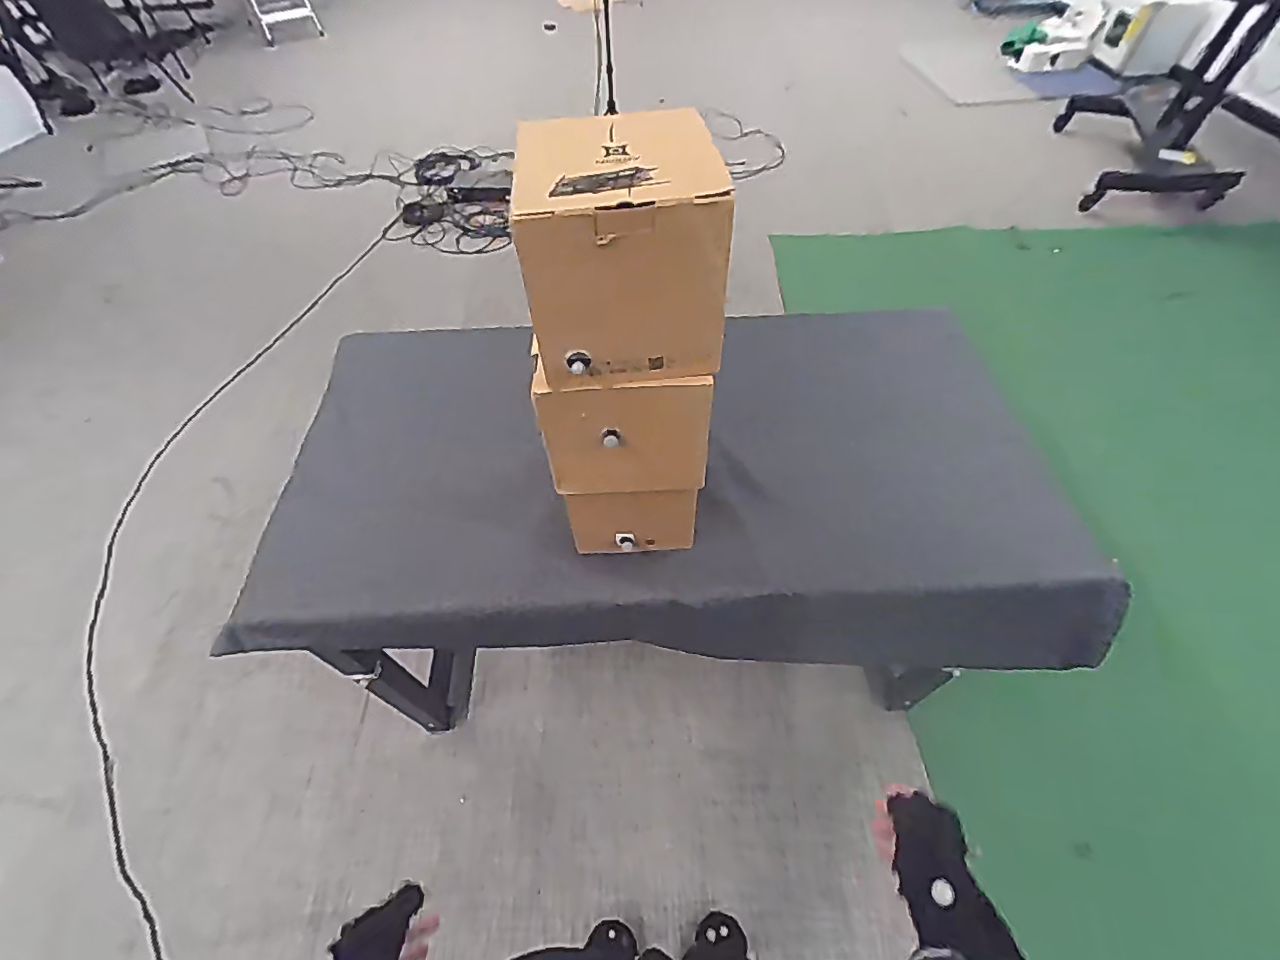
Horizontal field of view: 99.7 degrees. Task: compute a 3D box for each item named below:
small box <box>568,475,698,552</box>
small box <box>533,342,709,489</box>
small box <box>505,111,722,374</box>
[{"bbox_3d":[-0.013,-0.017,0.770,0.168,0.176,0.179,-5,53,0],"label":"small box"},{"bbox_3d":[-0.019,-0.103,0.634,0.179,0.176,0.168,-5,50,-2],"label":"small box"},{"bbox_3d":[-0.022,-0.214,0.508,0.168,0.176,0.179,-6,51,-2],"label":"small box"}]
